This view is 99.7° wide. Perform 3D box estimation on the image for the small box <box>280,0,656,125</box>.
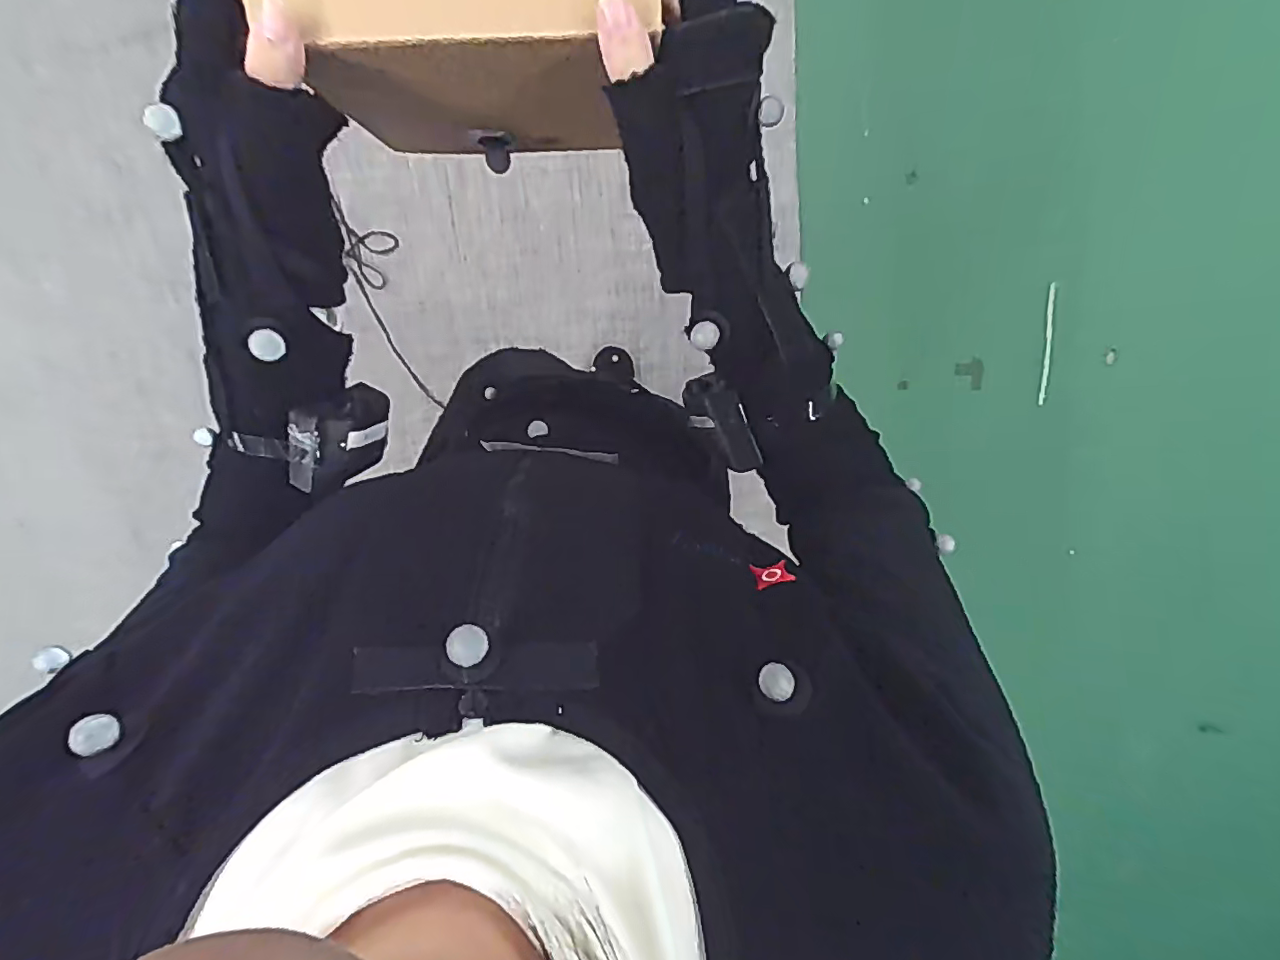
[{"bbox_3d":[-0.082,-0.294,0.253,0.168,0.176,0.179,-3,108,-2],"label":"small box"}]
